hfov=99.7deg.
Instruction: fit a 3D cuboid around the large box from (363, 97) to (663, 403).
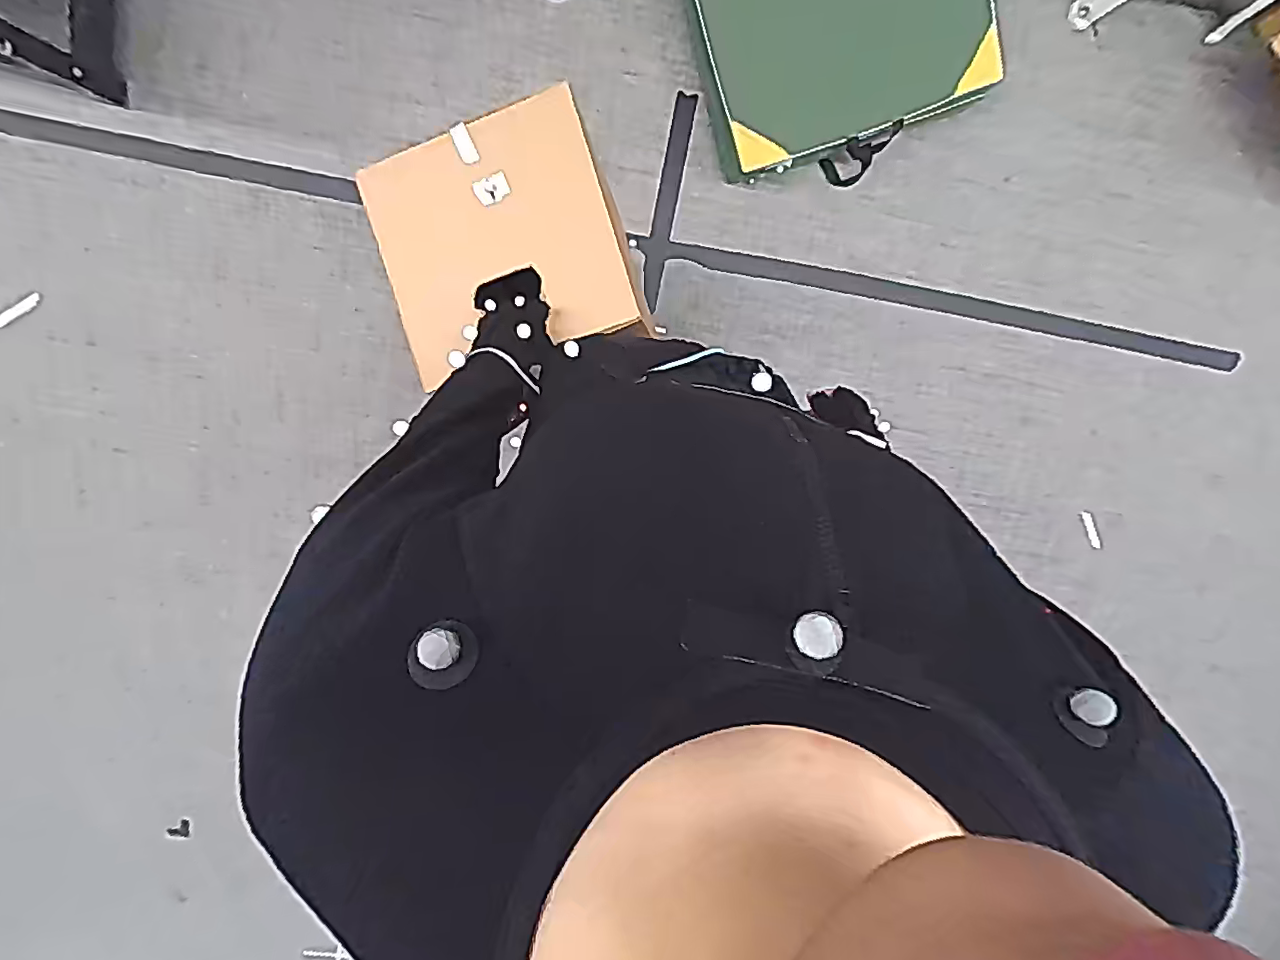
[{"bbox_3d":[-0.171,-0.330,0.912,0.320,0.408,0.320,-15,93,9],"label":"large box"}]
